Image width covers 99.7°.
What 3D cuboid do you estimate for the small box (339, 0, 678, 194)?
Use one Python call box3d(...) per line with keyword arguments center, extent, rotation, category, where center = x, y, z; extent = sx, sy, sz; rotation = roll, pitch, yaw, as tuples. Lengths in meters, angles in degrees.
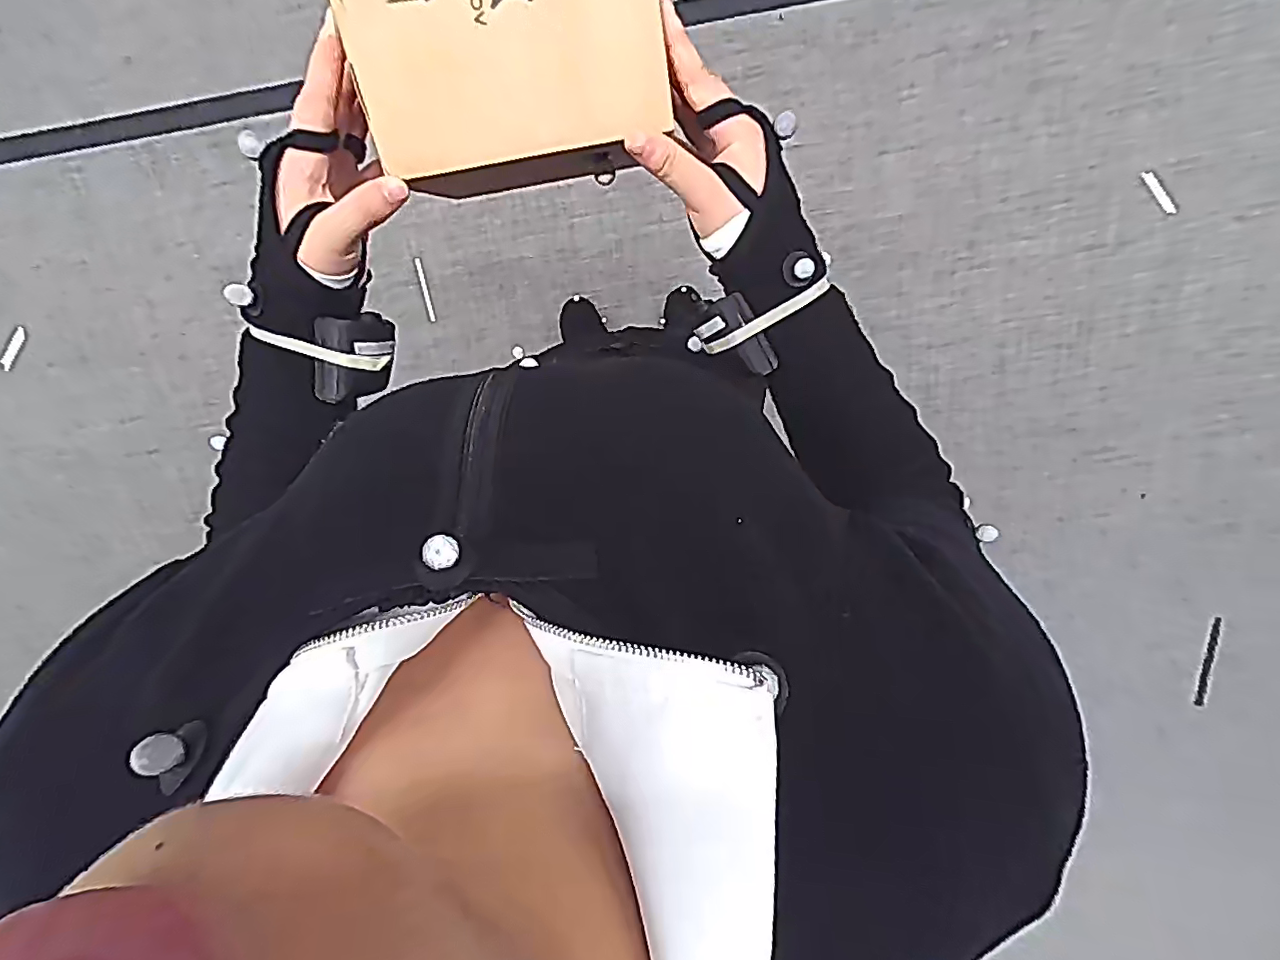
box3d(center=(-0.079, -0.298, 0.361), extent=(0.179, 0.176, 0.168), rotation=(-9, 115, 1), category="small box")
